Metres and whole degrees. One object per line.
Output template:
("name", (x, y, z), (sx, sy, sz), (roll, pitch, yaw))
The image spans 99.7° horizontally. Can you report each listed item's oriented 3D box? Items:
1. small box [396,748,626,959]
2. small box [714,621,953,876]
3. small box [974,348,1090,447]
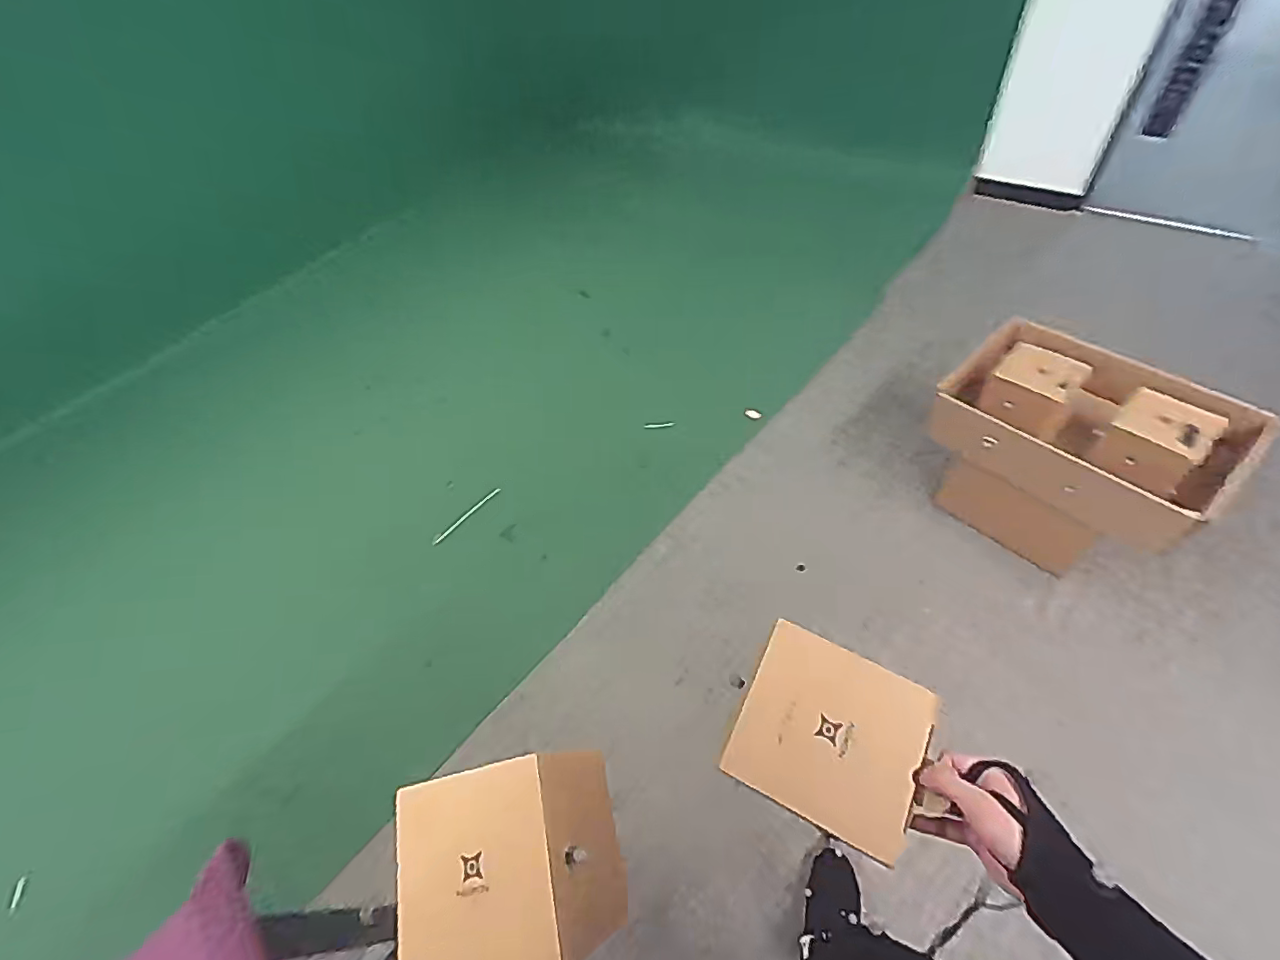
("small box", (-0.128, 0.392, 0.566), (0.168, 0.176, 0.179), (-19, 62, 11))
("small box", (0.196, 0.282, 0.593), (0.179, 0.176, 0.168), (26, 67, 15))
("small box", (1.044, -0.218, 1.457), (0.168, 0.176, 0.179), (-40, 55, -19))
